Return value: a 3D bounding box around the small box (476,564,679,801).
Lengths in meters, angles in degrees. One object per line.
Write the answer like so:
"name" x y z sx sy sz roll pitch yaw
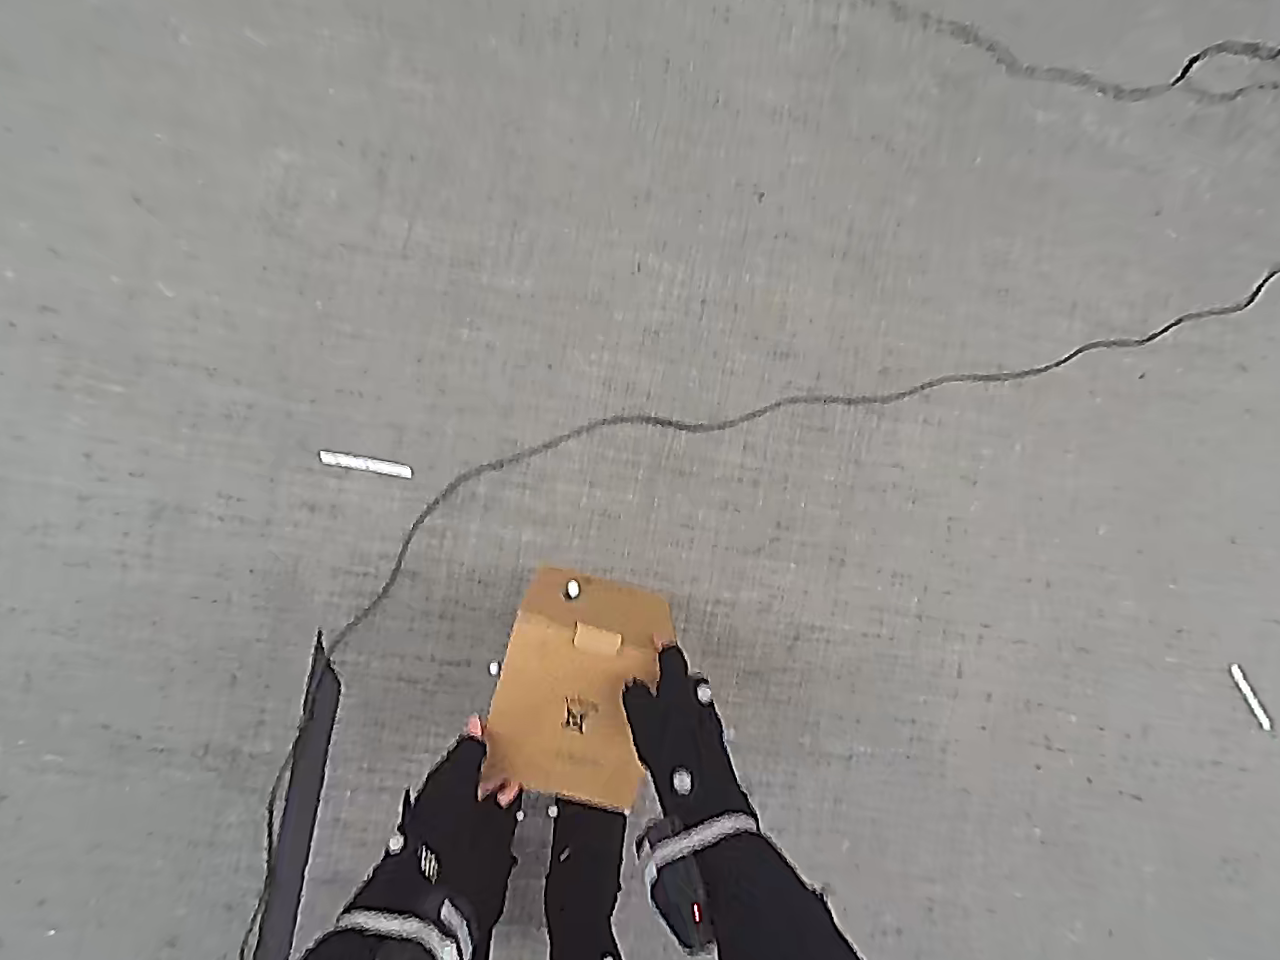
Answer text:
"small box" -0.066 0.215 0.619 0.168 0.176 0.179 17 98 -4
